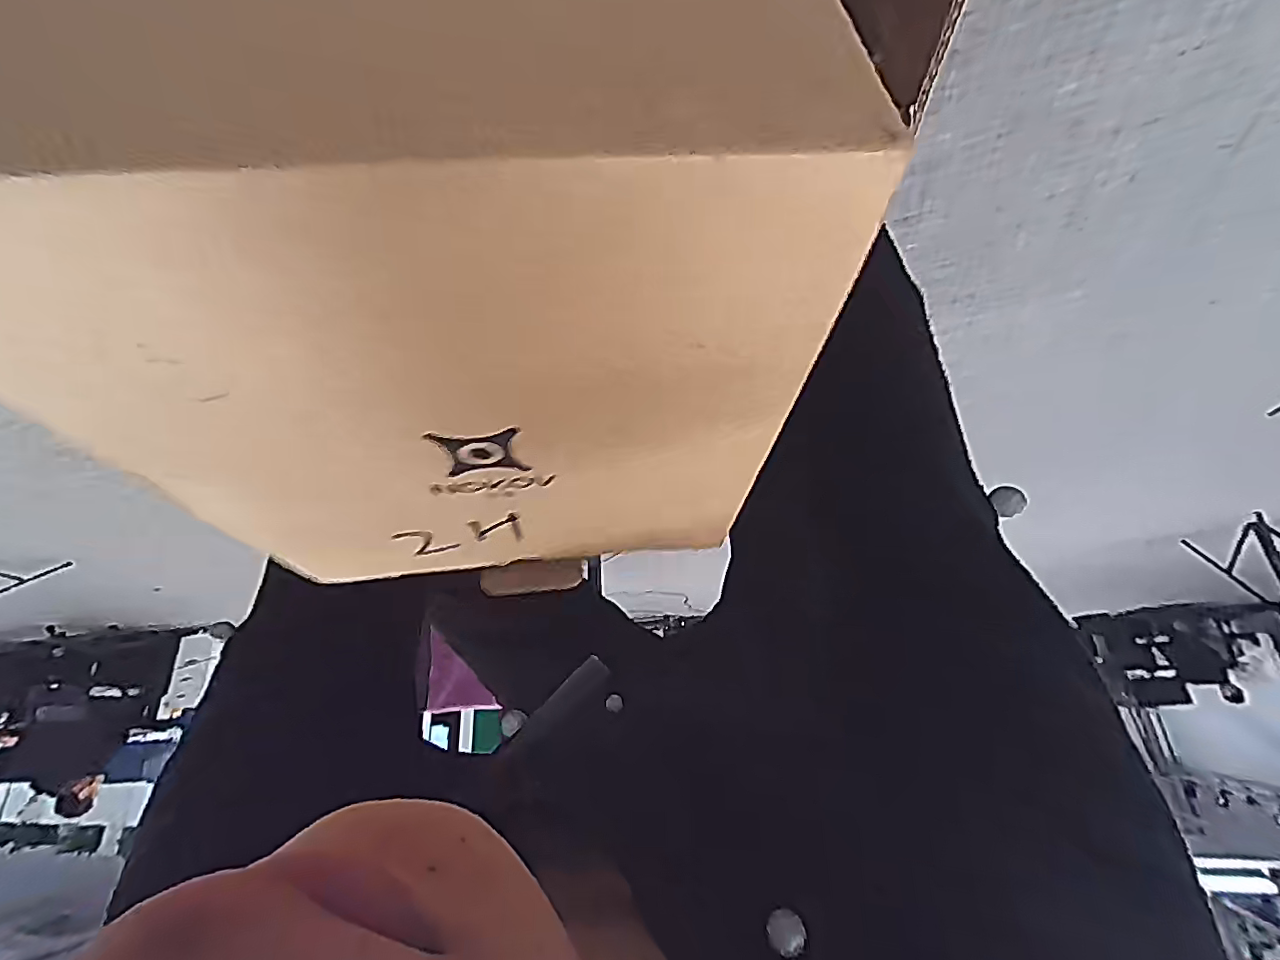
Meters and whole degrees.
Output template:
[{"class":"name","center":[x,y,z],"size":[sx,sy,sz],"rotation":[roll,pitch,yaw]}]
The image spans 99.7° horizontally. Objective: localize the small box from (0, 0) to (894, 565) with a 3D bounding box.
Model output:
[{"class":"small box","center":[-0.054,-0.083,0.184],"size":[0.168,0.176,0.179],"rotation":[-4,155,-5]}]
